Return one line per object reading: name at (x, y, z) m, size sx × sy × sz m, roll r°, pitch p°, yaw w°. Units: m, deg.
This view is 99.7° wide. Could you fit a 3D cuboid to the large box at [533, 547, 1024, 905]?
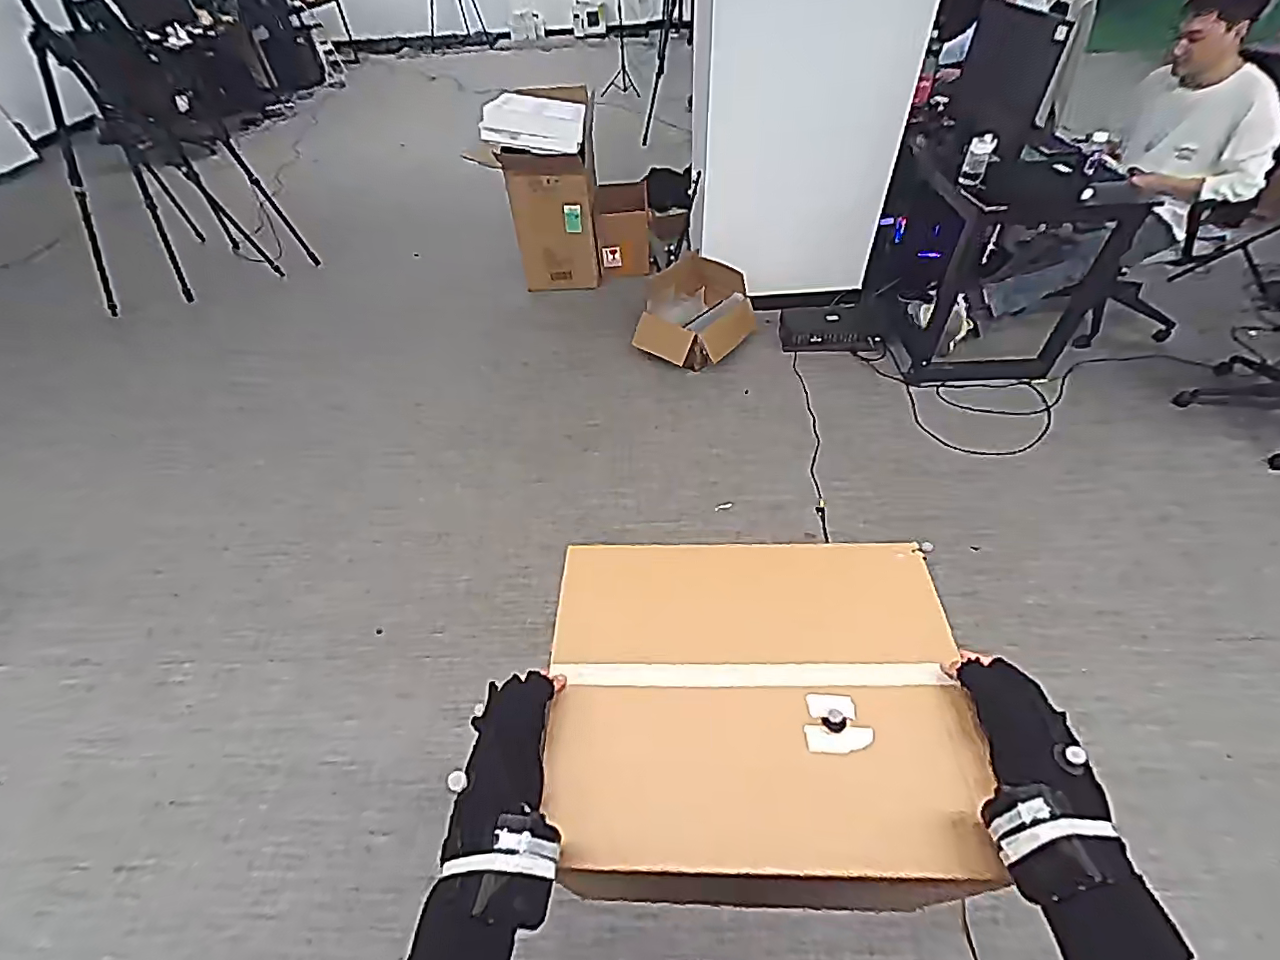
large box at (0.116, 0.295, 0.643) m, size 0.408 × 0.320 × 0.320 m, roll -1°, pitch 48°, yaw 3°
